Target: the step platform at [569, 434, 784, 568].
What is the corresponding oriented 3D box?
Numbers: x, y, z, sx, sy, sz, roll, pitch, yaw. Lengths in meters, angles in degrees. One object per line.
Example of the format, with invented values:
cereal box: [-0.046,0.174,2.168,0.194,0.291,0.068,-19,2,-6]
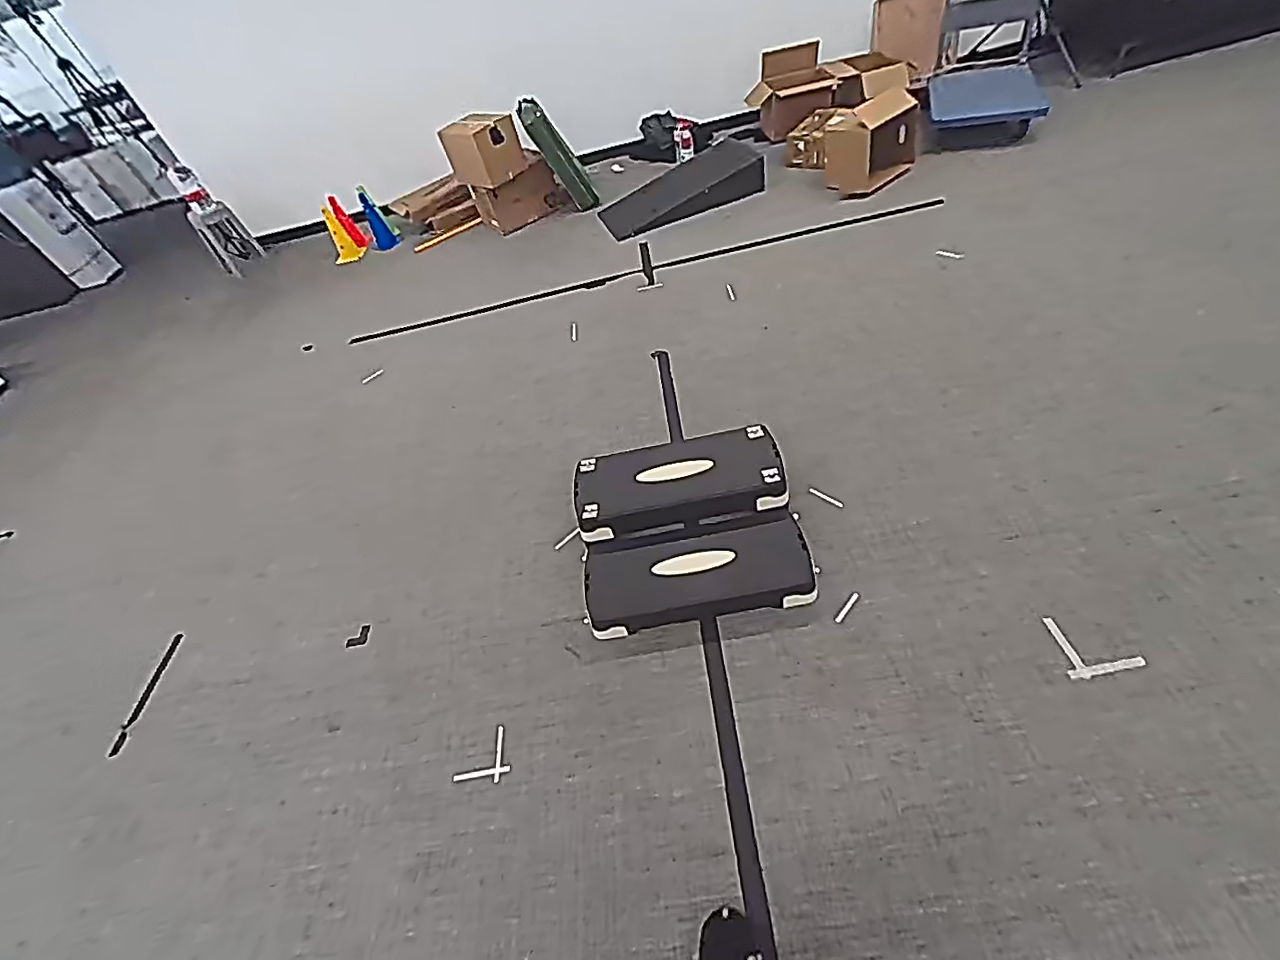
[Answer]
step platform: [0.113,0.063,1.762,0.684,0.204,0.286,-12,48,4]
